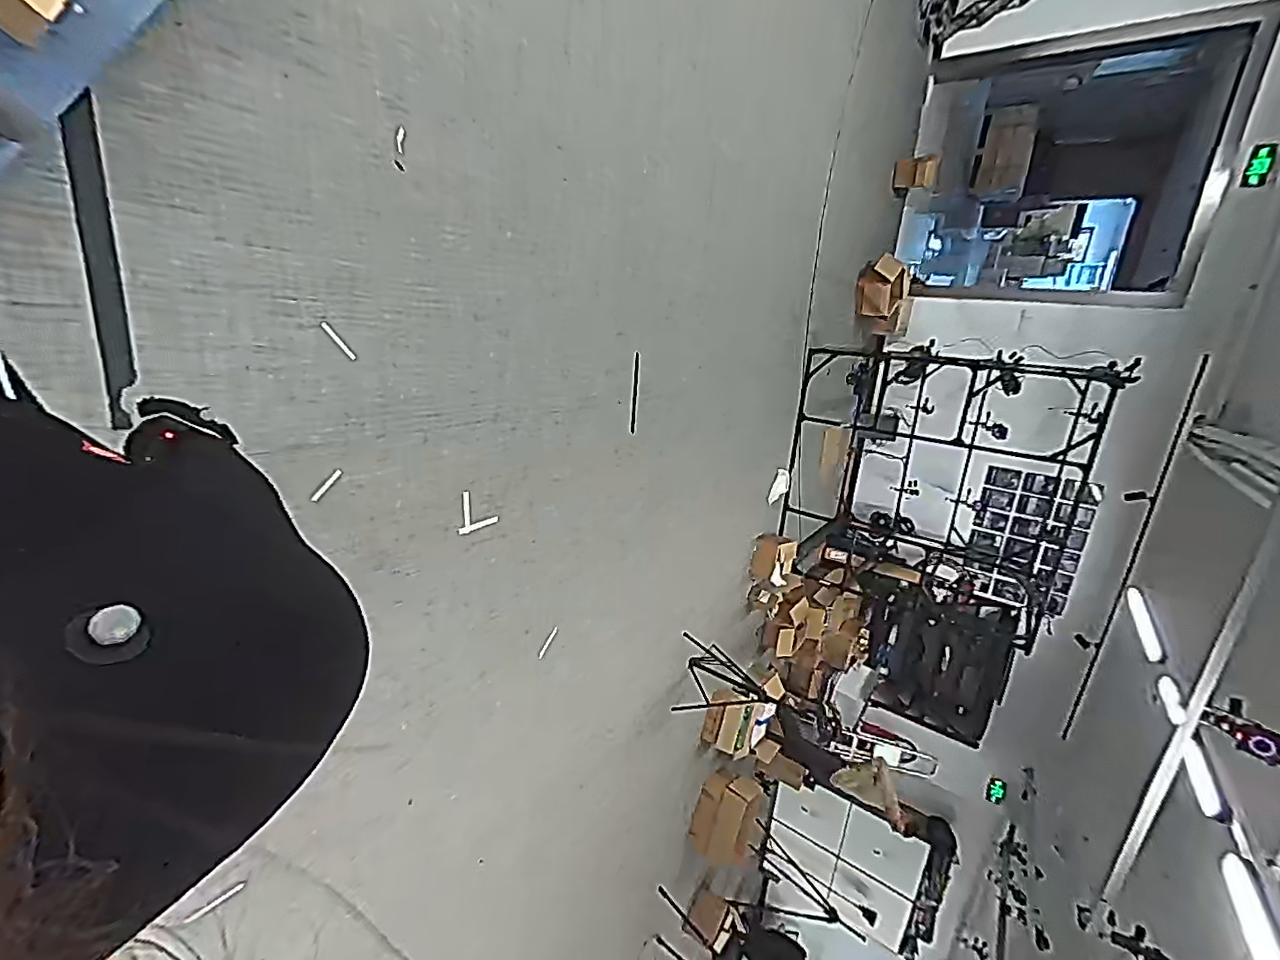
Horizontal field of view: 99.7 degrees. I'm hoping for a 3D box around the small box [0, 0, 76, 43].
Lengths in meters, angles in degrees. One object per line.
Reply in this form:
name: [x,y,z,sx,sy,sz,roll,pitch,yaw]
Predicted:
small box: [-0.857,-0.731,0.712,0.179,0.176,0.168,41,69,-55]
